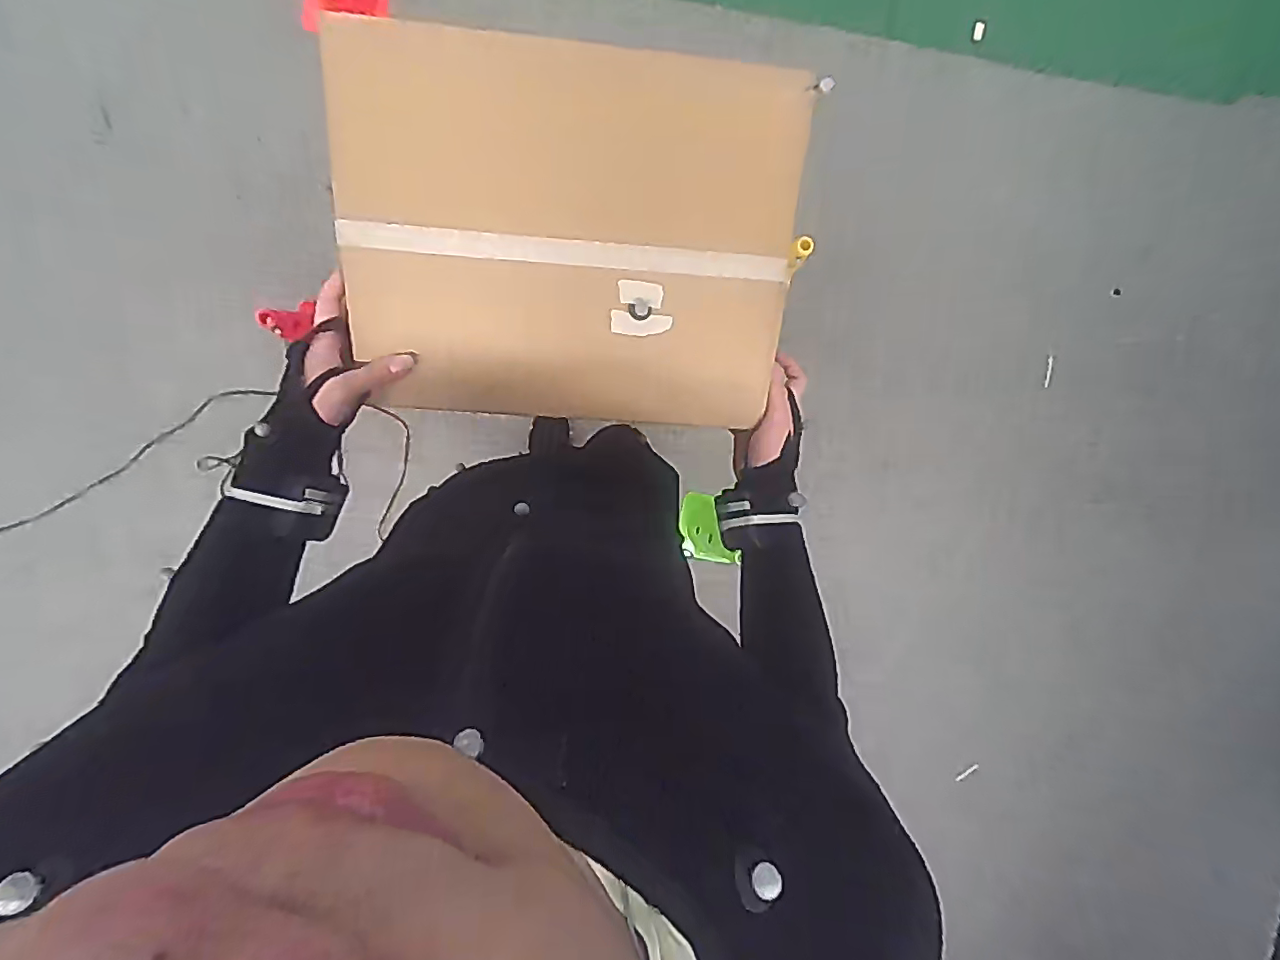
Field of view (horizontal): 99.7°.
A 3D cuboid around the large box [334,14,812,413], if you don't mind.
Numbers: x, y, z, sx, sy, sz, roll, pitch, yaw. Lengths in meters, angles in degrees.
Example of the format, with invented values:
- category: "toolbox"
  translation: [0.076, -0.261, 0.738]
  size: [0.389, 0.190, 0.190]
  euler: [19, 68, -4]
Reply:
- category: "large box"
  translation: [-0.071, -0.272, 0.637]
  size: [0.408, 0.320, 0.320]
  euler: [3, 111, -6]

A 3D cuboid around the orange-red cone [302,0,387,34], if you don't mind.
- category: "orange-red cone"
  translation: [-0.737, -1.223, 1.220]
  size: [0.199, 0.360, 0.198]
  euler: [12, 95, -7]

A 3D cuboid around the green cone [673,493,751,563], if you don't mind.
- category: "green cone"
  translation: [0.236, 0.168, 1.514]
  size: [0.200, 0.368, 0.202]
  euler: [11, 94, -8]
